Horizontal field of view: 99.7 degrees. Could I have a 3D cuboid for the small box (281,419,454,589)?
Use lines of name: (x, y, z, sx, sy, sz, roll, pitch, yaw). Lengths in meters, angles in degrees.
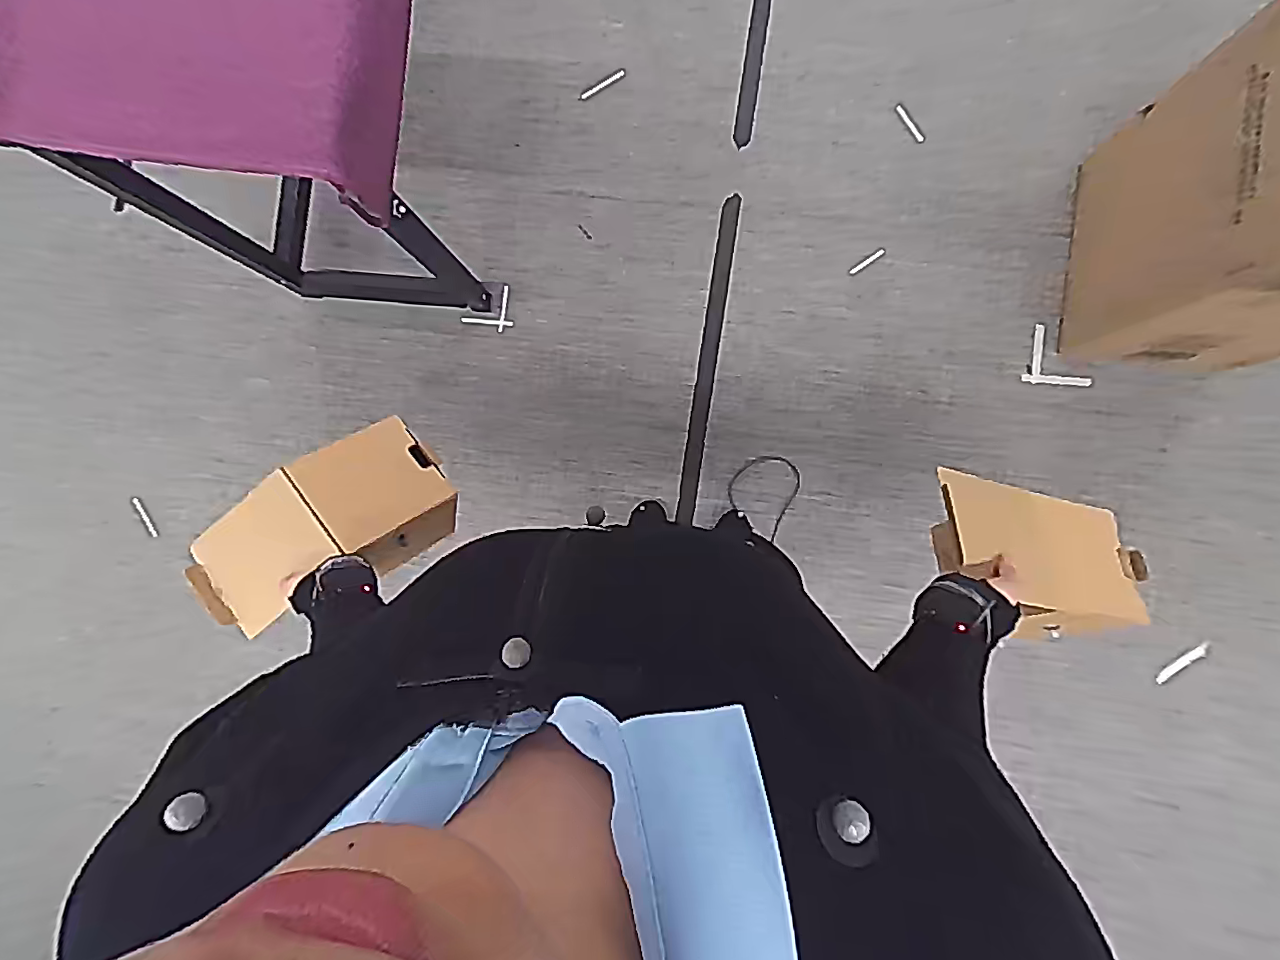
small box: (-0.409, 0.043, 0.841, 0.179, 0.176, 0.168, -34, 80, -31)
